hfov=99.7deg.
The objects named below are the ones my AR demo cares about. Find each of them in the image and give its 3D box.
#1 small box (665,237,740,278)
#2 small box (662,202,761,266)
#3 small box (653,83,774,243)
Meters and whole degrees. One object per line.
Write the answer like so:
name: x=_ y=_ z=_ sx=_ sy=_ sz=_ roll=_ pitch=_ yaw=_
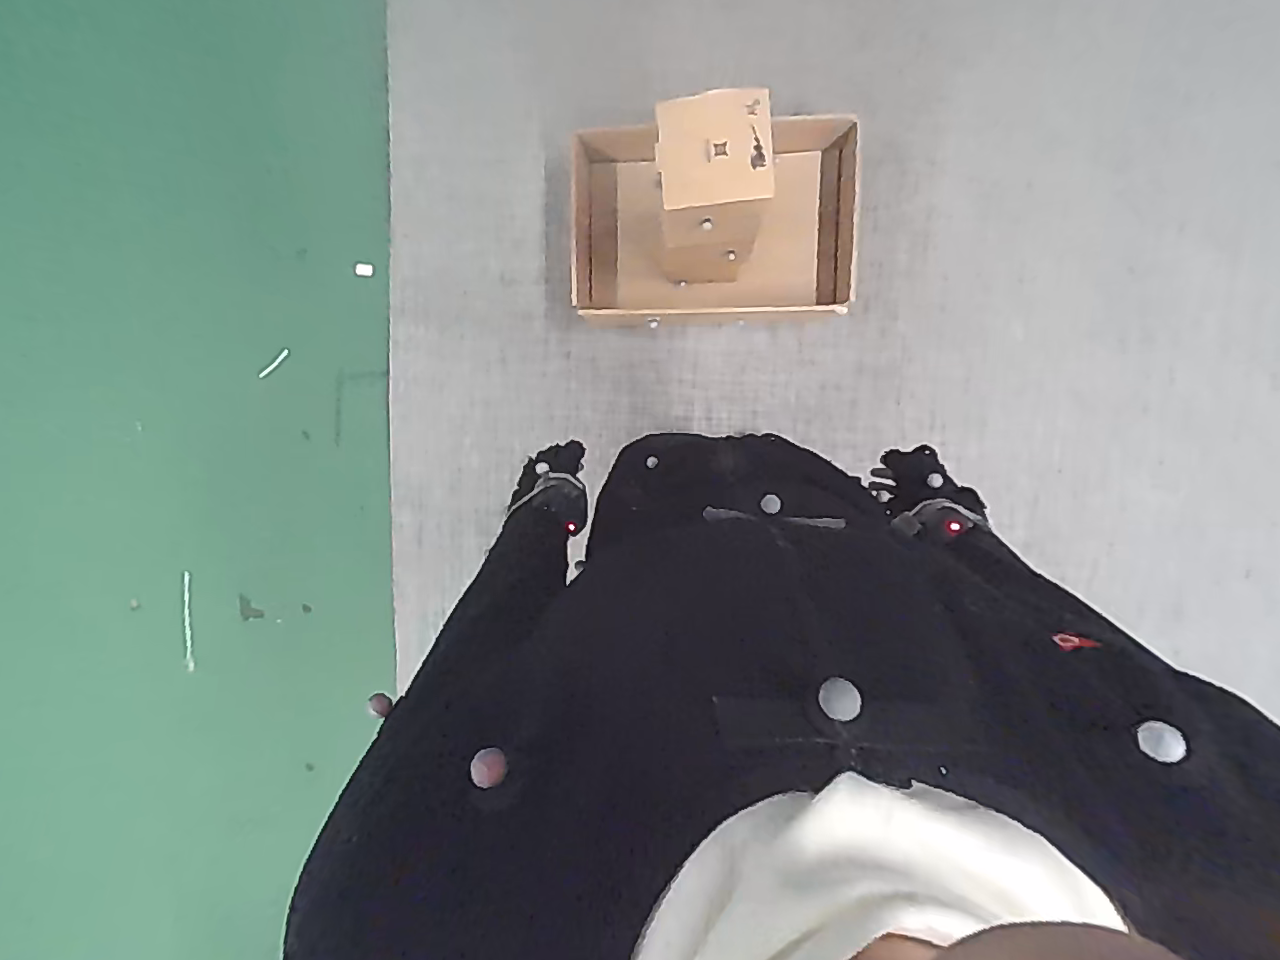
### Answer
small box: x=0.146 y=-0.569 z=1.236 sx=0.168 sy=0.176 sz=0.179 roll=1 pitch=96 yaw=6
small box: x=0.134 y=-0.534 z=1.061 sx=0.179 sy=0.176 sz=0.168 roll=-5 pitch=95 yaw=6
small box: x=0.122 y=-0.522 z=0.917 sx=0.179 sy=0.176 sz=0.168 roll=-6 pitch=93 yaw=5
